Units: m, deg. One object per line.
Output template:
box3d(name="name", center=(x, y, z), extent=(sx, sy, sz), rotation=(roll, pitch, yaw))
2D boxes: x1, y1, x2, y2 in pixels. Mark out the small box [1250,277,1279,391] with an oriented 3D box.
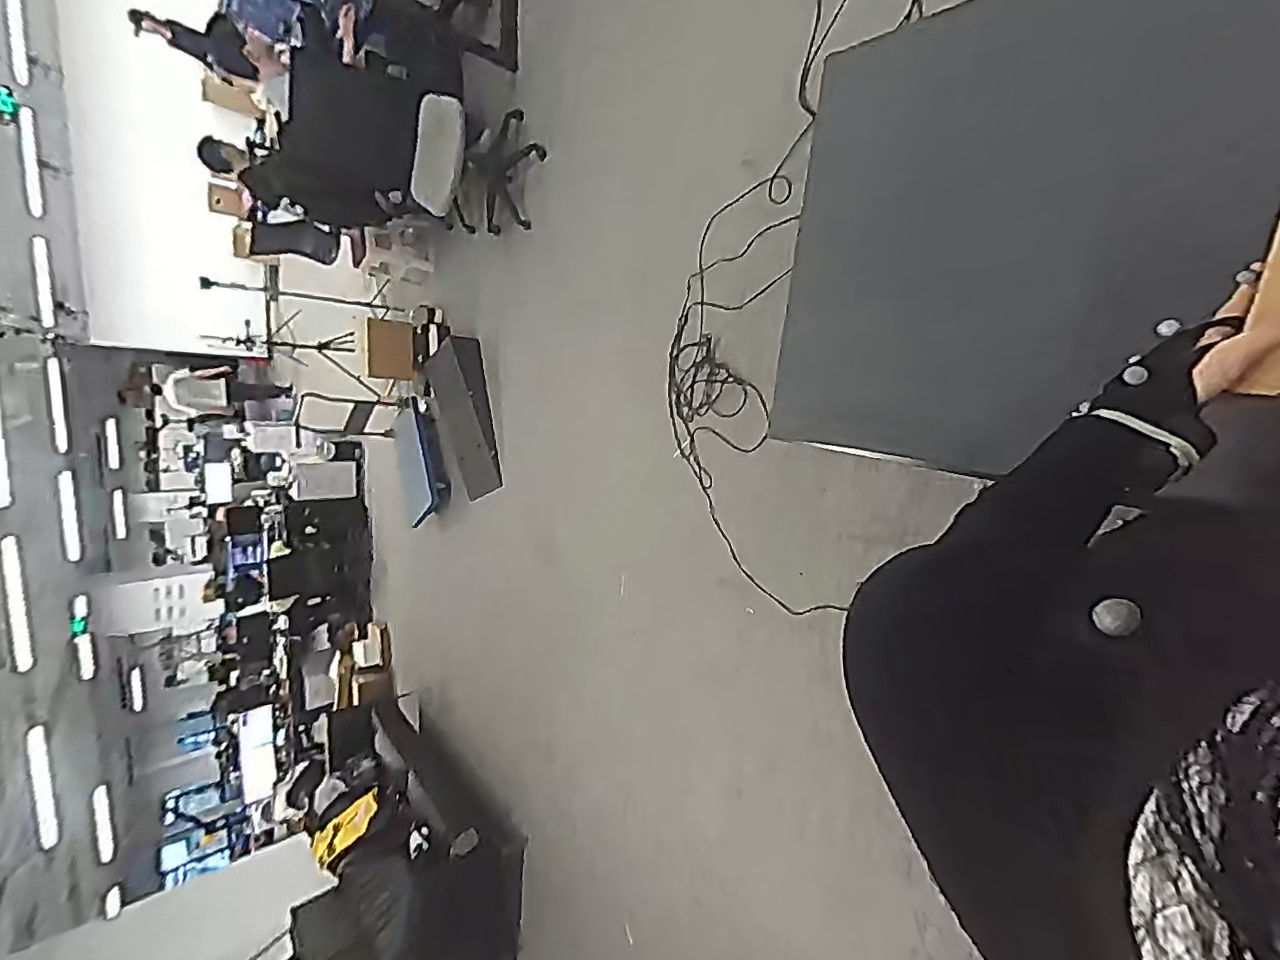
box3d(name="small box", center=(0.601, -0.152, 0.401), extent=(0.168, 0.176, 0.179), rotation=(20, 108, 48))
